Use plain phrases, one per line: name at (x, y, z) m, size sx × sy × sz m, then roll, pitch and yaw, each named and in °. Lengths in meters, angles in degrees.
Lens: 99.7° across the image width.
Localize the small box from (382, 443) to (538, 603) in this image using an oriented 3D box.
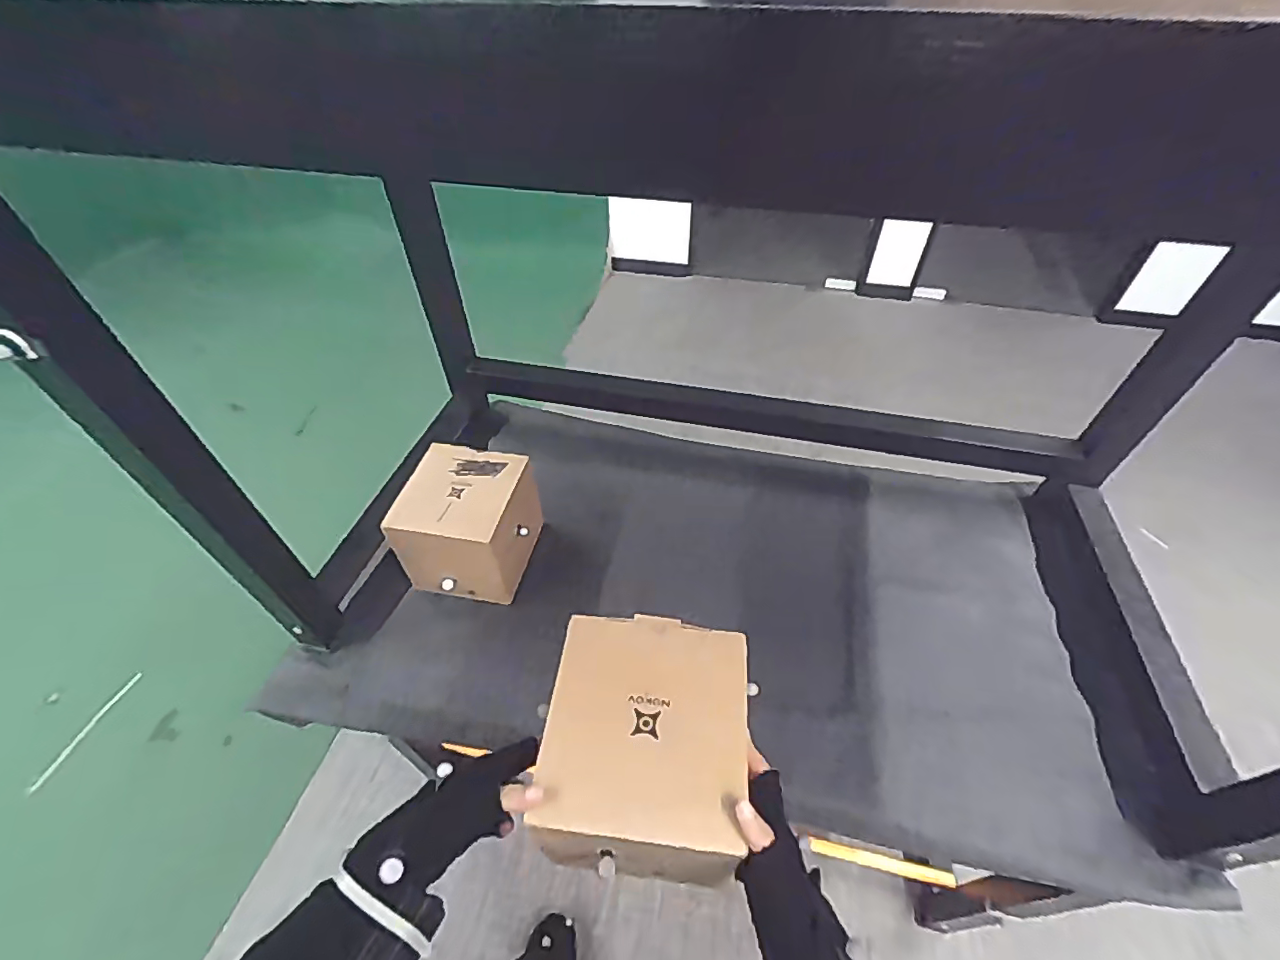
small box at (-0.269, 0.068, 0.862) m, size 0.168 × 0.176 × 0.179 m, roll 8°, pitch 48°, yaw 8°

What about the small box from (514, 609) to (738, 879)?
small box at (-0.001, 0.245, 0.501) m, size 0.168 × 0.176 × 0.179 m, roll 5°, pitch 46°, yaw 5°
